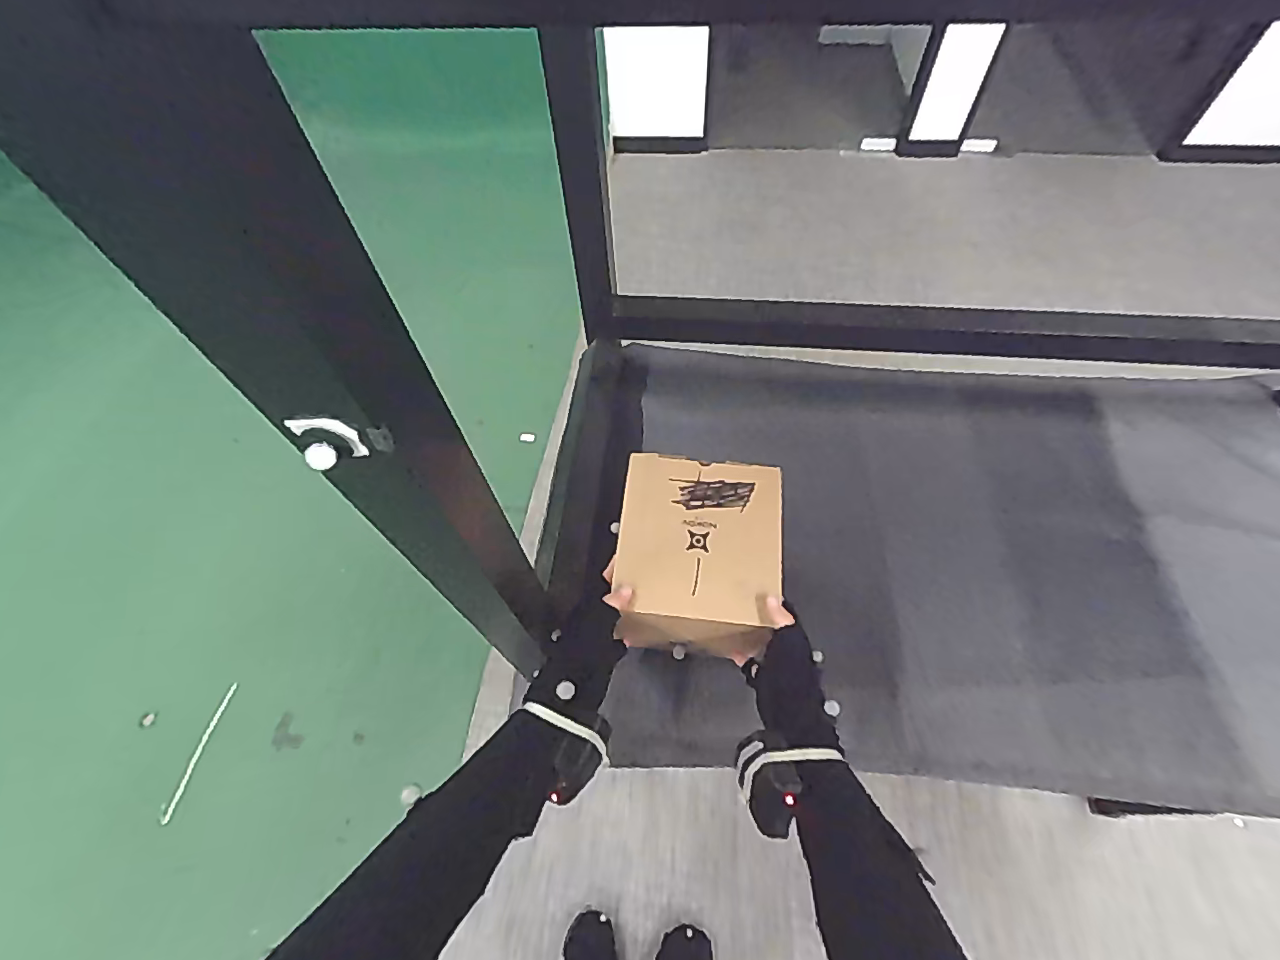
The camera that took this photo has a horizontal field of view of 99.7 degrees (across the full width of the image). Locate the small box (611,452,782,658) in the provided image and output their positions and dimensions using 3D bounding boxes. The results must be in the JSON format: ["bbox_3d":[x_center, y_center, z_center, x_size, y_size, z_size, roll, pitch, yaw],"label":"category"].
[{"bbox_3d":[0.061,0.091,0.618,0.168,0.176,0.179,6,62,3],"label":"small box"}]
